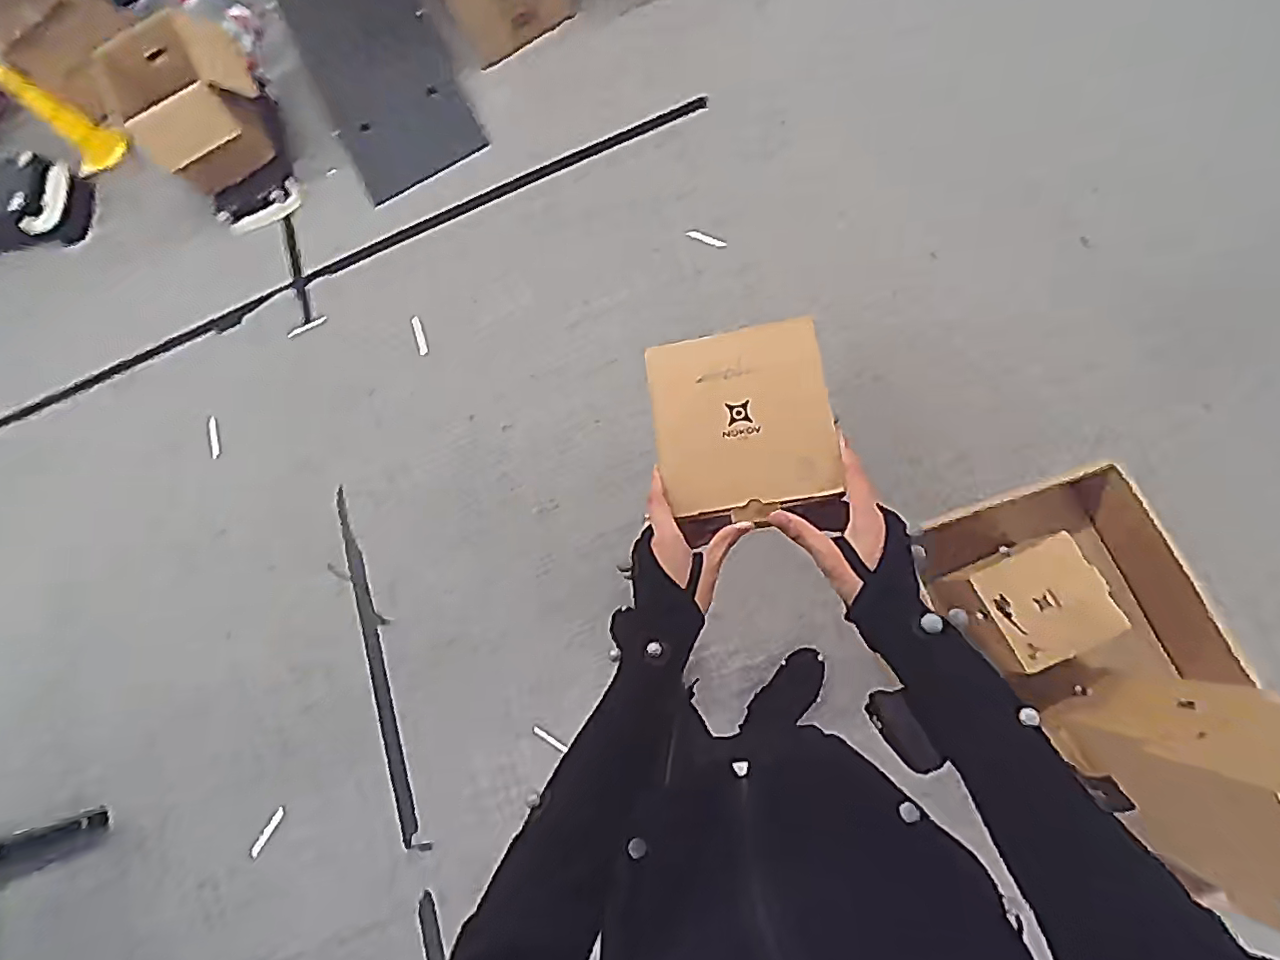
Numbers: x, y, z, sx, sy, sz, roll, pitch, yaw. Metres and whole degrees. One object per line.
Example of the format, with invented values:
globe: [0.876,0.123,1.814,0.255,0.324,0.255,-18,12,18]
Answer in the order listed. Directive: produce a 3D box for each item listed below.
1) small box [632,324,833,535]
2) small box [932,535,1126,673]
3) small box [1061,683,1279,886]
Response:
small box: [0.095,-0.038,0.582,0.168,0.176,0.179,-10,78,7]
small box: [0.648,0.210,0.927,0.179,0.176,0.168,-25,73,1]
small box: [0.717,0.377,0.706,0.179,0.176,0.168,-21,73,4]
